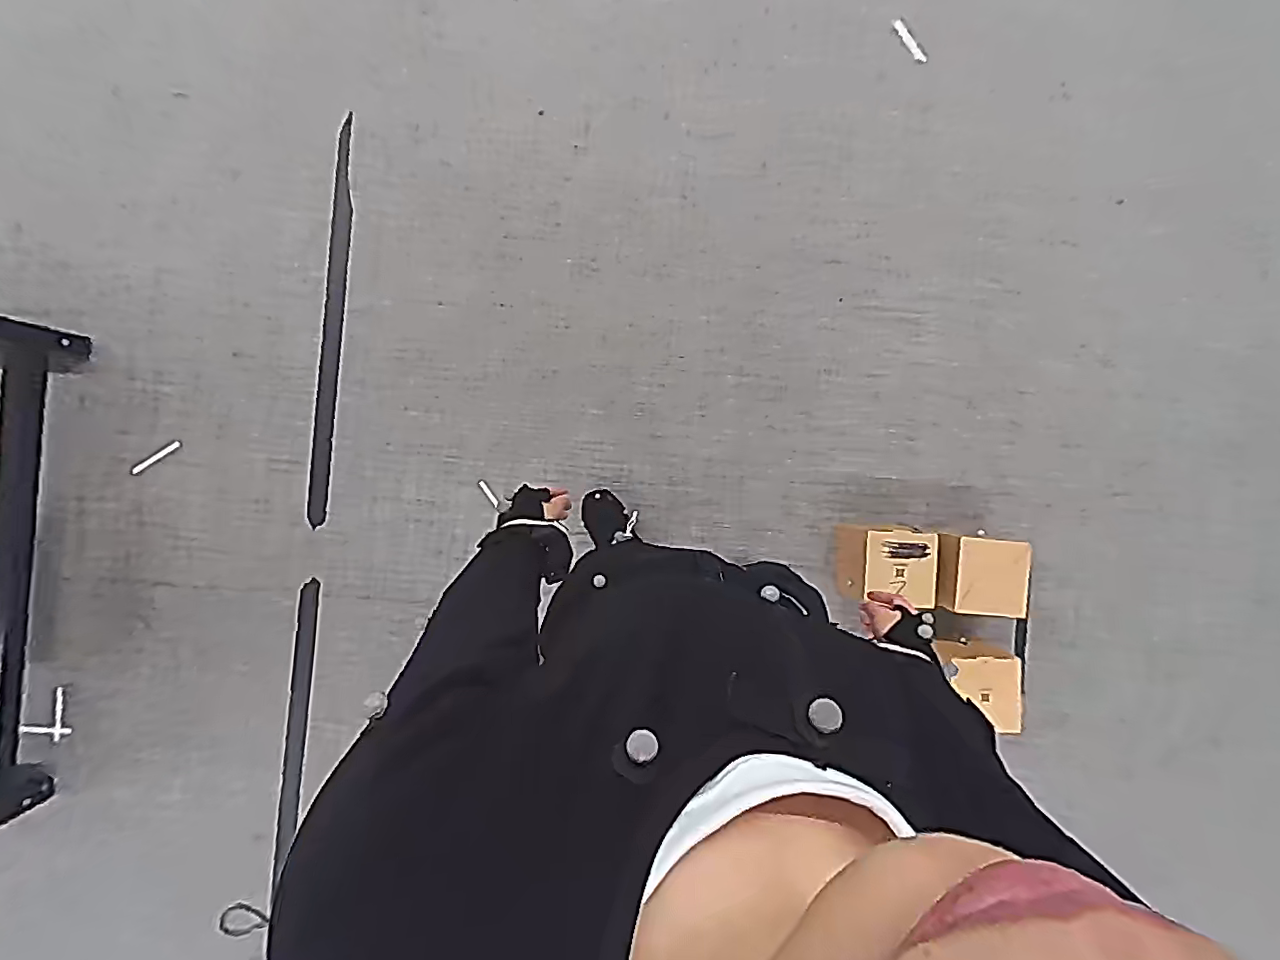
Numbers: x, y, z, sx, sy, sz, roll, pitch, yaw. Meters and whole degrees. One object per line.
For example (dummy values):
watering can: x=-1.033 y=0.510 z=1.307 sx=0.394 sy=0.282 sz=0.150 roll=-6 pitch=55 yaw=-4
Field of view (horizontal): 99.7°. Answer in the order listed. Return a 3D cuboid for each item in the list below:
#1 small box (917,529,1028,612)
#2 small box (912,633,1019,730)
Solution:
small box: x=0.806 y=0.218 z=1.318 sx=0.168 sy=0.176 sz=0.179 roll=5 pitch=91 yaw=-1
small box: x=0.790 y=0.489 z=1.326 sx=0.168 sy=0.176 sz=0.179 roll=0 pitch=90 yaw=-1
